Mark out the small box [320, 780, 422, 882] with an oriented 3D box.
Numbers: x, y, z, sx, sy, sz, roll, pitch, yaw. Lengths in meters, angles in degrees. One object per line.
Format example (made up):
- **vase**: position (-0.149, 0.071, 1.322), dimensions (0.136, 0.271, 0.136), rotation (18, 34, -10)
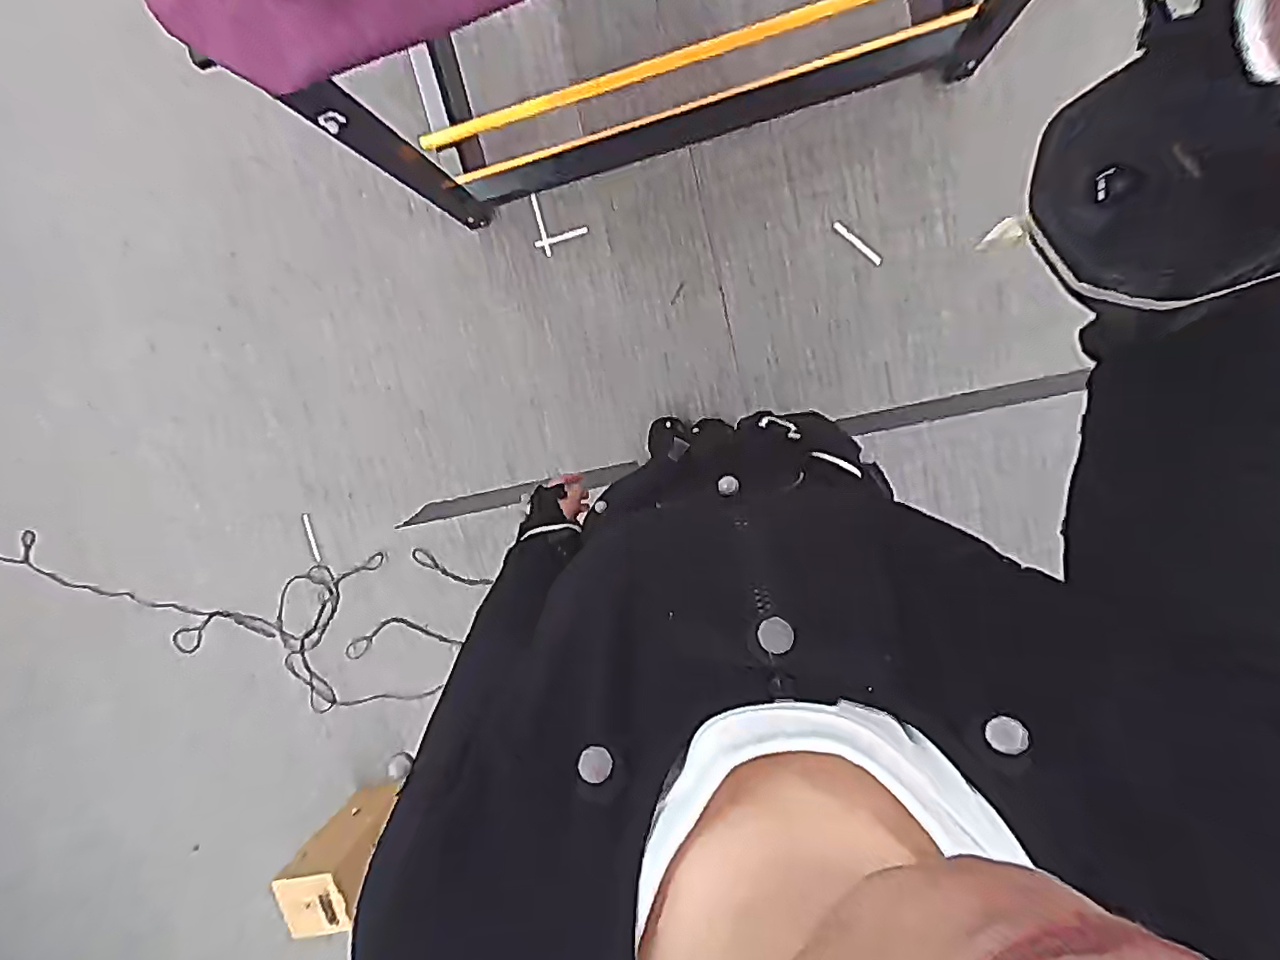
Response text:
- **small box**: position (-0.773, 1.011, 1.570), dimensions (0.179, 0.176, 0.168), rotation (-19, 96, 9)
